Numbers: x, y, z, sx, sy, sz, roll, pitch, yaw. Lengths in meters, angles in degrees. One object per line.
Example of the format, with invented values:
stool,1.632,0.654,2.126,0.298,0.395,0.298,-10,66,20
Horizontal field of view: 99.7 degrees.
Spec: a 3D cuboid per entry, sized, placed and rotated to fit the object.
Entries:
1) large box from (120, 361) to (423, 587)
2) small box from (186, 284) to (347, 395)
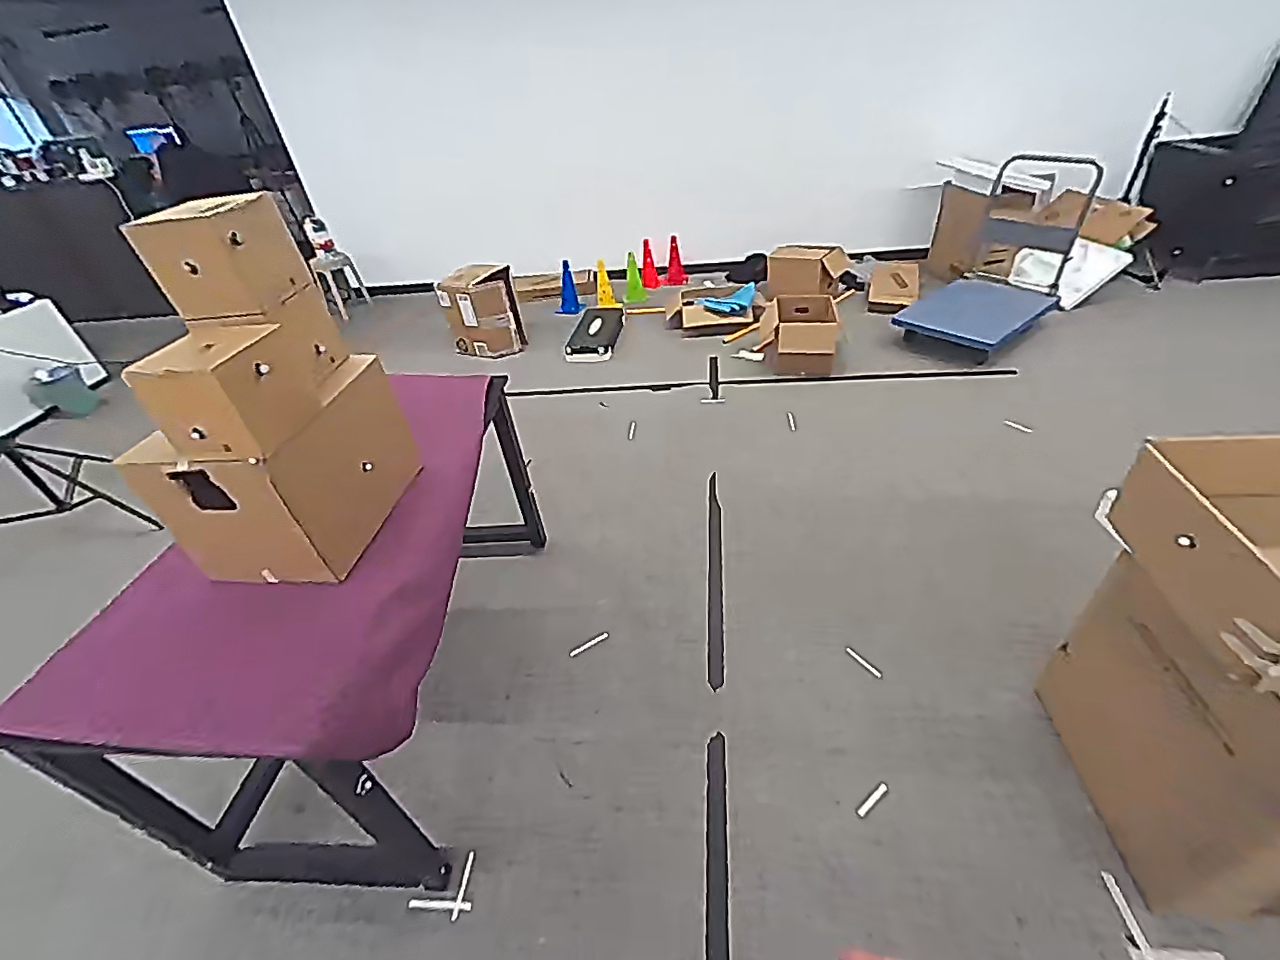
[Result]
large box,-0.734,-0.022,1.171,0.320,0.320,0.408,-3,39,9
small box,-0.748,-0.284,1.105,0.179,0.176,0.168,-1,40,8
